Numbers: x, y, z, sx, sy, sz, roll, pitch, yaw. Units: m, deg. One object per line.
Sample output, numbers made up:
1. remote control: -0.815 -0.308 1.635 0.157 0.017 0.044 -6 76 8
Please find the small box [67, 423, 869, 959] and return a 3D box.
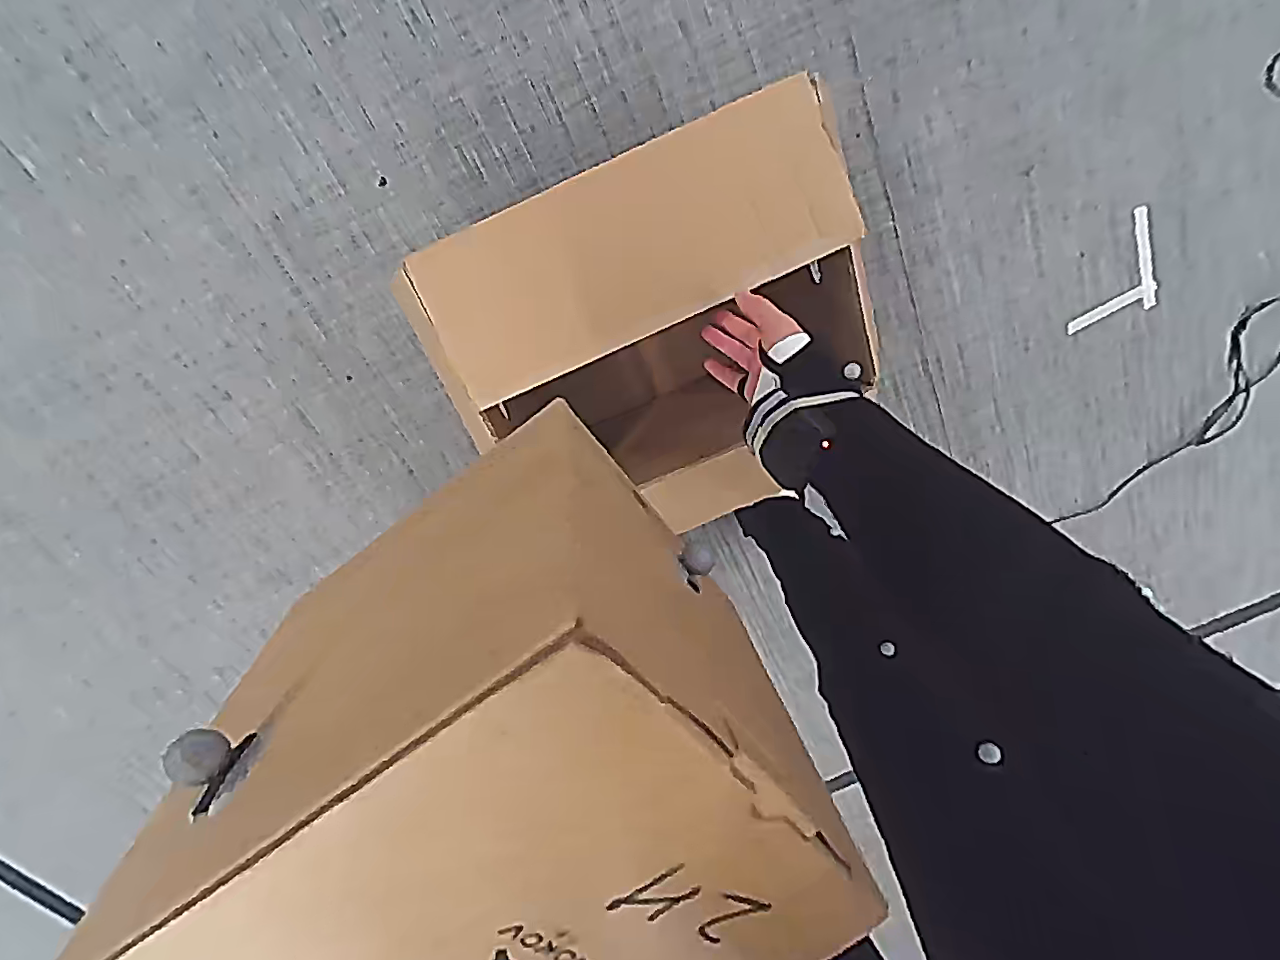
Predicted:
1. small box: -0.049 0.105 0.232 0.179 0.176 0.168 -36 116 6
